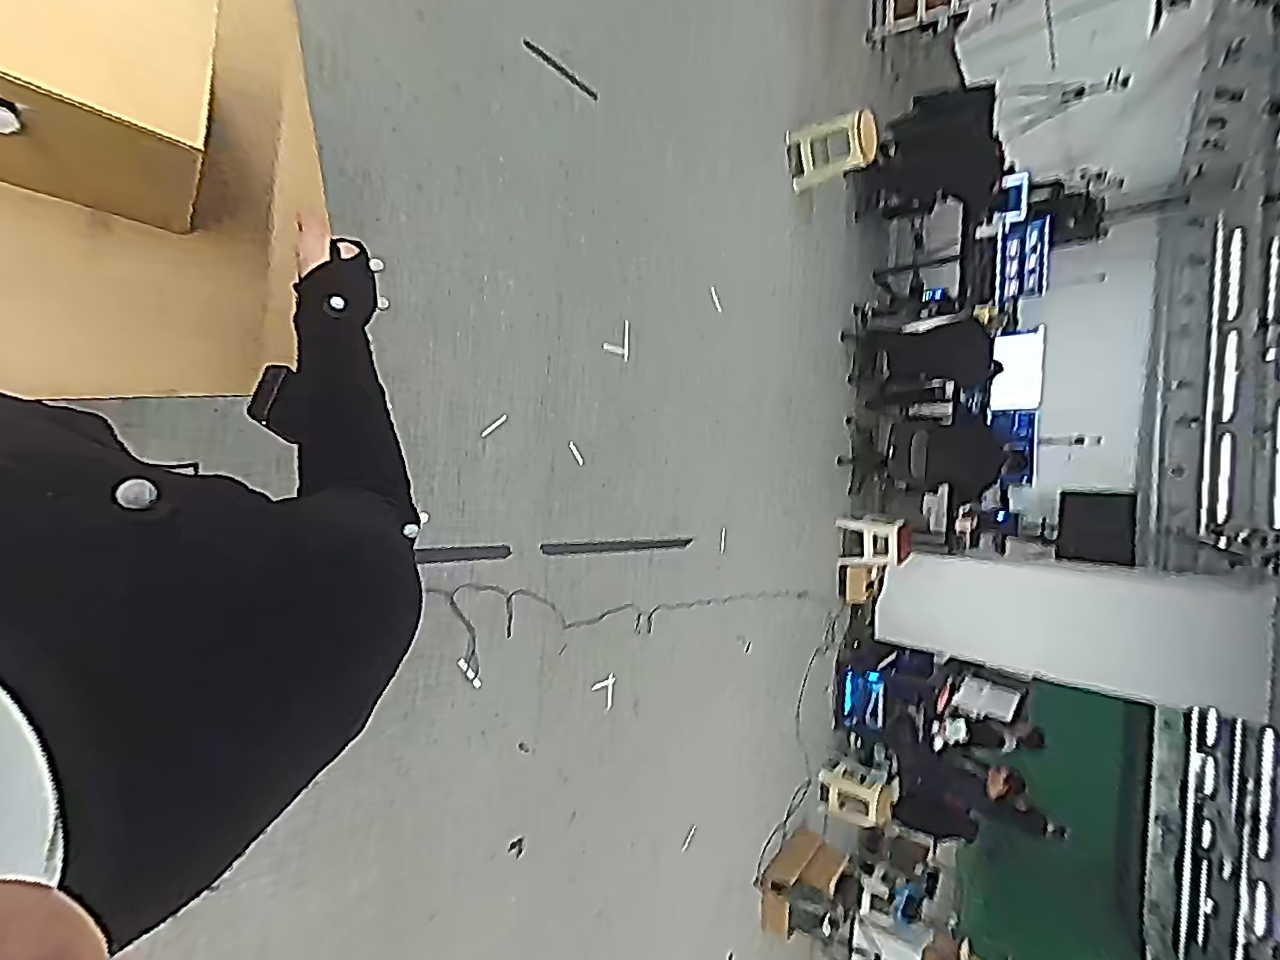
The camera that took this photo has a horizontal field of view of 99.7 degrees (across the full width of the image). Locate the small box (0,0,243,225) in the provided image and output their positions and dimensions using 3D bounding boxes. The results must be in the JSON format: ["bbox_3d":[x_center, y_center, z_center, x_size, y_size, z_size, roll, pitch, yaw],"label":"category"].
[{"bbox_3d":[-0.420,-0.318,0.402,0.179,0.176,0.168,7,84,-41],"label":"small box"}]
